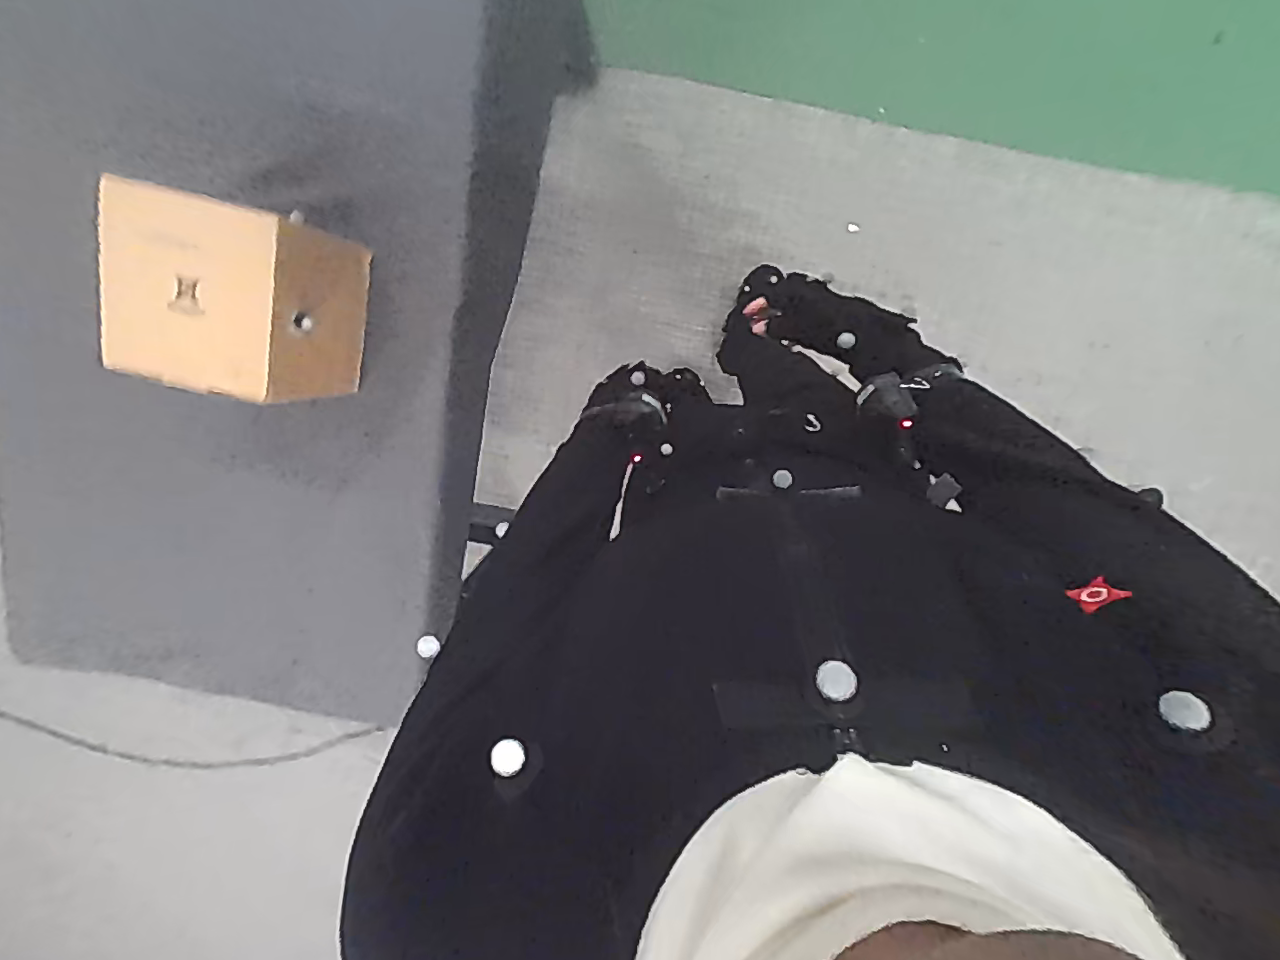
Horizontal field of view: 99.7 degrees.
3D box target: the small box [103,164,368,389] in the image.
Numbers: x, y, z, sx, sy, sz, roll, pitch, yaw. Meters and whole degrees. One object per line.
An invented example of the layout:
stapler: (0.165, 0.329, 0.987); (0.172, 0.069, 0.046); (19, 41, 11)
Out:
small box: (-0.423, -0.207, 0.591); (0.168, 0.176, 0.179); (12, 103, -1)
